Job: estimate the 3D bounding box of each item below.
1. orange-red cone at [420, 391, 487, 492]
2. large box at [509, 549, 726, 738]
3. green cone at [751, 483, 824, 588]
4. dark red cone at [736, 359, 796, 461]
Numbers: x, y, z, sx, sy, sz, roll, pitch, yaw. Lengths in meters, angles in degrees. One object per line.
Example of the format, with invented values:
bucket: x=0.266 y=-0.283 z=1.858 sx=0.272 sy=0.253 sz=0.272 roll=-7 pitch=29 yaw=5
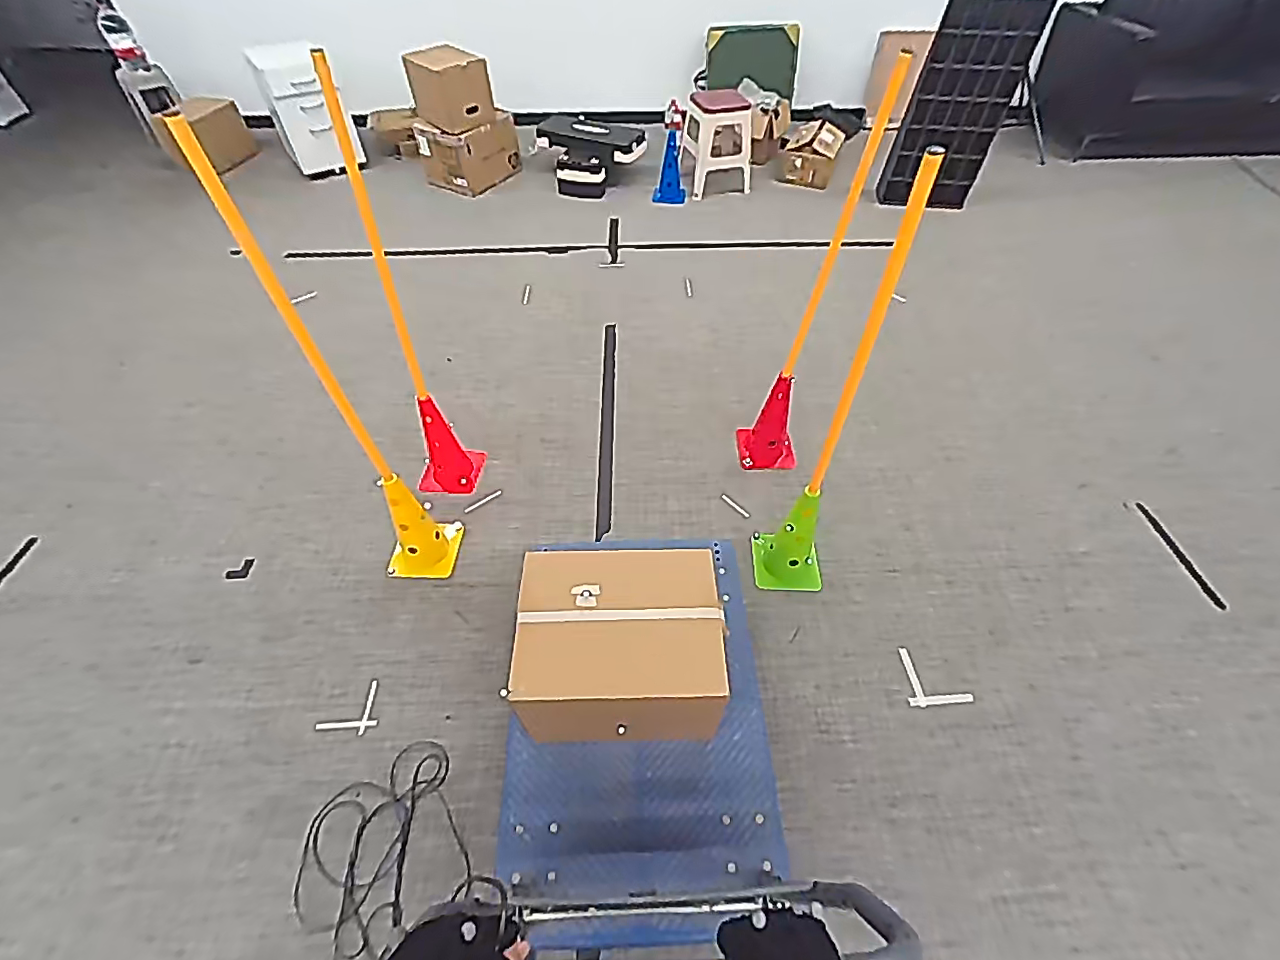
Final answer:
orange-red cone: x=-0.660 y=-0.152 z=1.803 sx=0.198 sy=0.360 sz=0.199 roll=6 pitch=49 yaw=3
large box: x=-0.041 y=0.367 z=1.191 sx=0.408 sy=0.320 sz=0.320 roll=-1 pitch=51 yaw=0
green cone: x=0.458 y=0.139 z=1.568 sx=0.202 sy=0.368 sz=0.200 roll=3 pitch=51 yaw=1
dark red cone: x=0.469 y=-0.246 z=1.862 sx=0.201 sy=0.394 sz=0.202 roll=0 pitch=51 yaw=-2
